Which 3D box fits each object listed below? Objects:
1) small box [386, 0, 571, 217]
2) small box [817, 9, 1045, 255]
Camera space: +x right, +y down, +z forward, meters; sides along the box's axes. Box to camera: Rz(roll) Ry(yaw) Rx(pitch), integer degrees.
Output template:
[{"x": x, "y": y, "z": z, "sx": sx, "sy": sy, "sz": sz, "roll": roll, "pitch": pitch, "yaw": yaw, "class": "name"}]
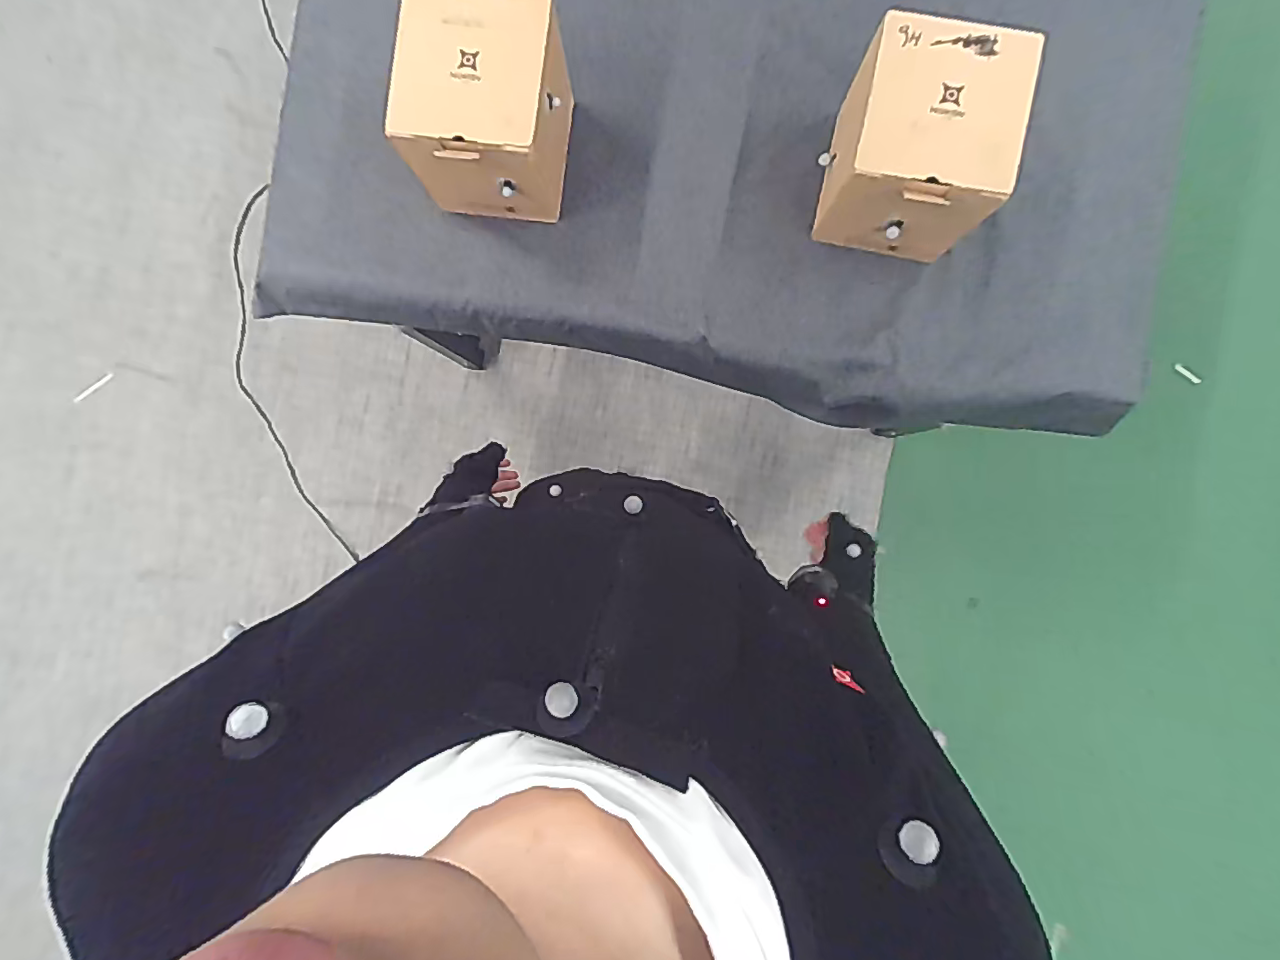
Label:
[{"x": -0.184, "y": -0.452, "z": 0.664, "sx": 0.168, "sy": 0.176, "sz": 0.179, "roll": 7, "pitch": 89, "yaw": 1, "class": "small box"}, {"x": 0.324, "y": -0.392, "z": 0.642, "sx": 0.168, "sy": 0.176, "sz": 0.179, "roll": 12, "pitch": 91, "yaw": 2, "class": "small box"}]
